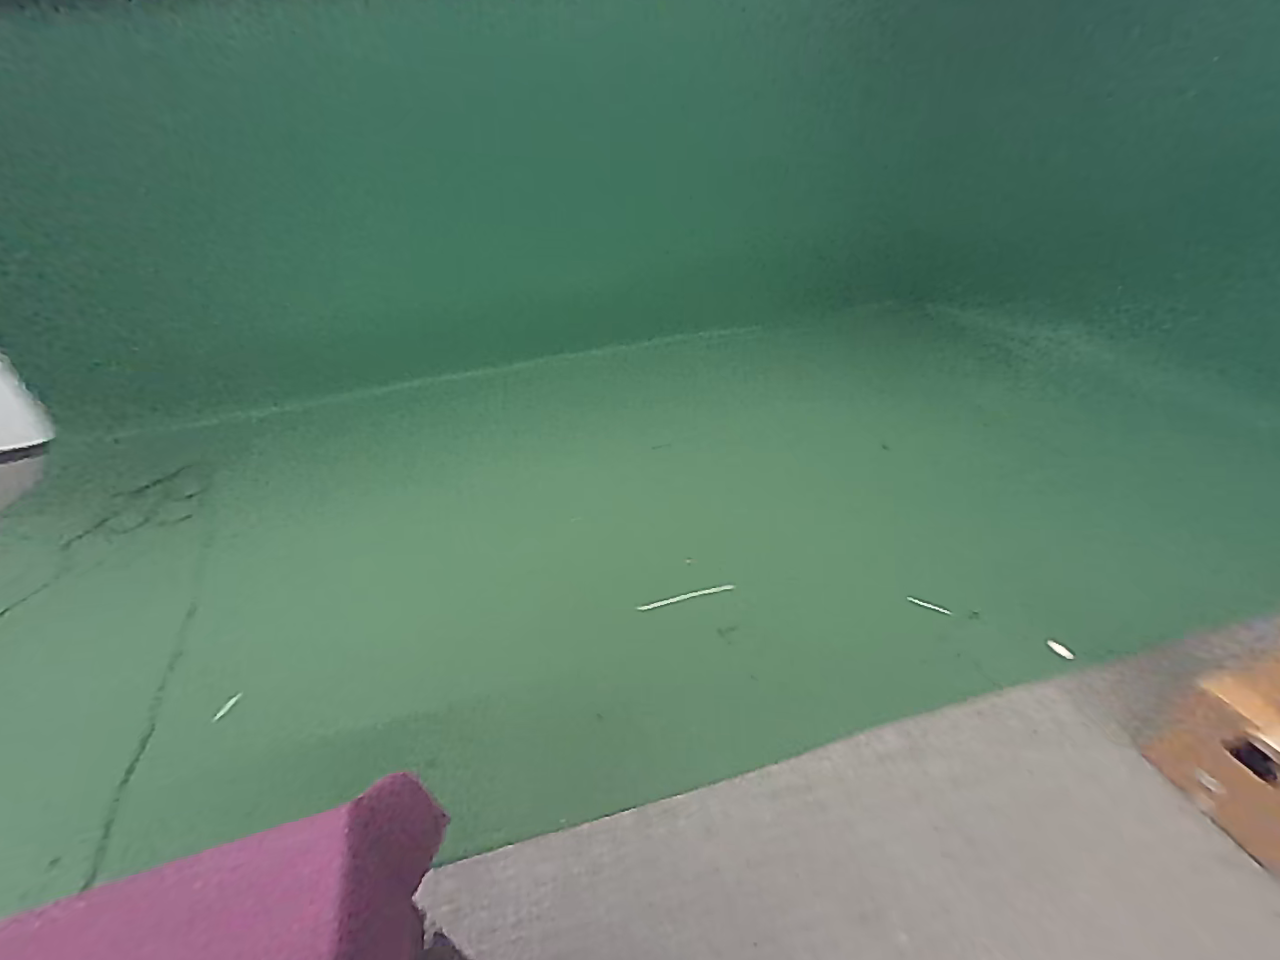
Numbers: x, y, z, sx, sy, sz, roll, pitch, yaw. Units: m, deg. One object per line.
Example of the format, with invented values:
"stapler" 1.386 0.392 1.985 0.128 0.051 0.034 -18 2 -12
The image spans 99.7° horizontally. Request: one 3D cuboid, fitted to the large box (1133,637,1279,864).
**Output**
"large box" 1.533 0.621 1.285 0.408 0.320 0.320 -12 37 -11
